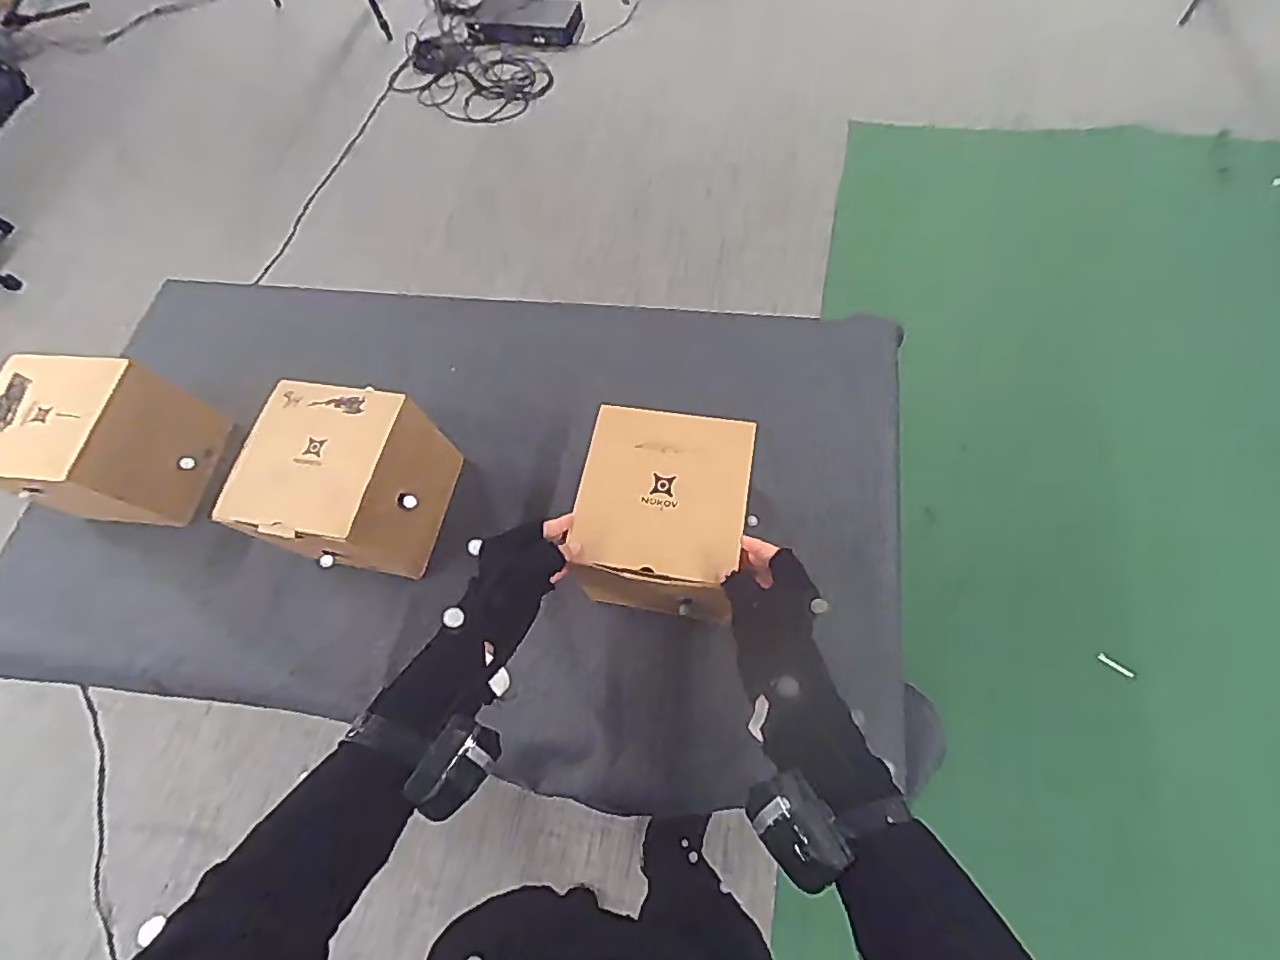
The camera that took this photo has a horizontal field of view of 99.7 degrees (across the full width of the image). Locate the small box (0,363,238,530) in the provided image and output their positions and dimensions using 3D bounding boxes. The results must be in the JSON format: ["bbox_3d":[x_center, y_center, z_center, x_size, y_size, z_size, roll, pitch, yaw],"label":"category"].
[{"bbox_3d":[-0.706,-0.038,0.726,0.179,0.176,0.168,4,68,7],"label":"small box"}]

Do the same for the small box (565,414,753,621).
[{"bbox_3d":[0.029,0.050,0.607,0.168,0.176,0.179,8,66,8],"label":"small box"}]

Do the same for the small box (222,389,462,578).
[{"bbox_3d":[-0.344,0.013,0.665,0.168,0.176,0.179,8,68,10],"label":"small box"}]
